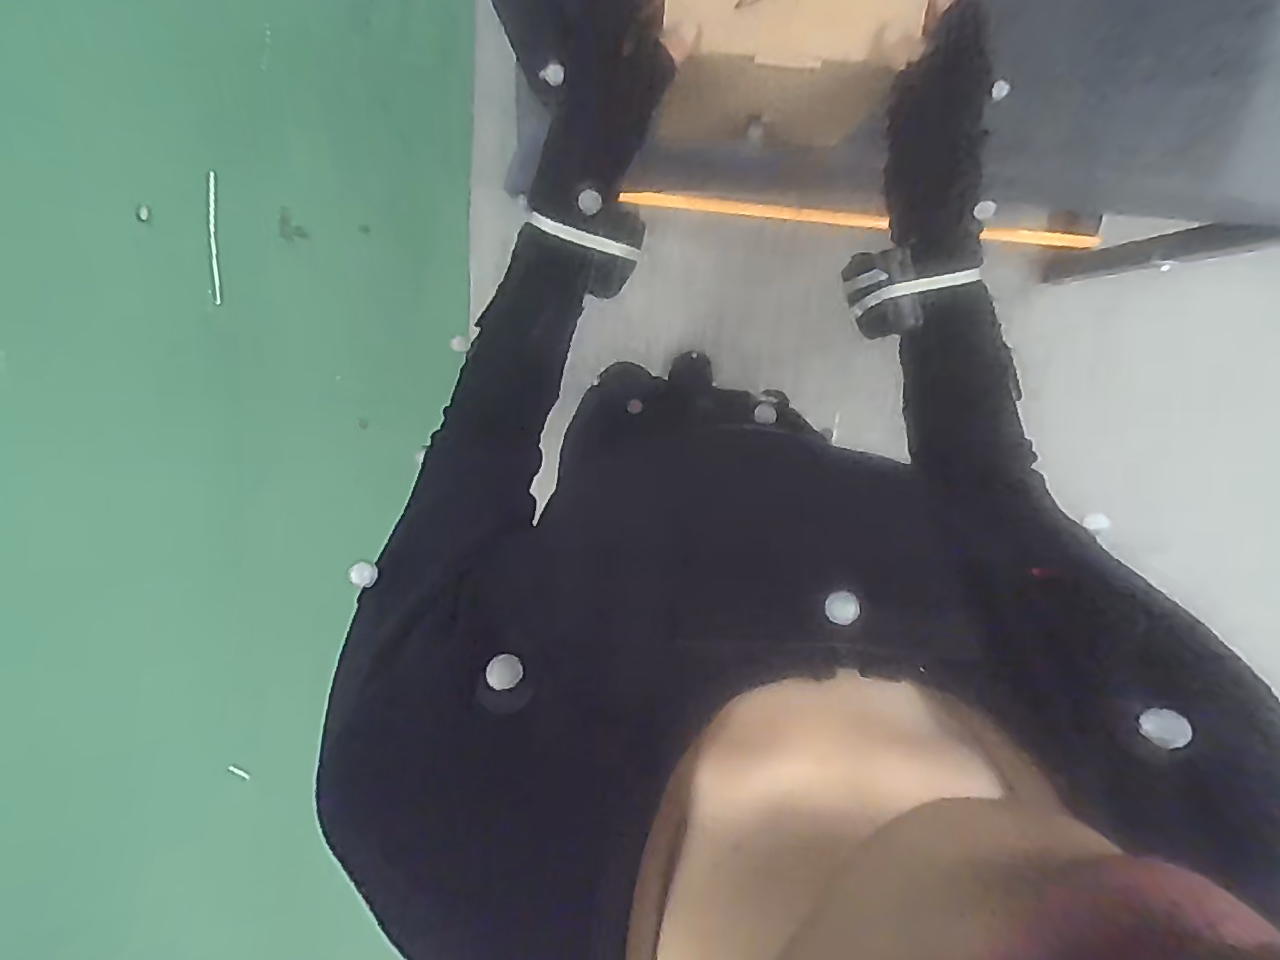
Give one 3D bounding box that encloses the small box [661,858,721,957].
[{"bbox_3d":[0.153,1.333,1.691,0.168,0.176,0.179,3,101,-1],"label":"small box"}]
